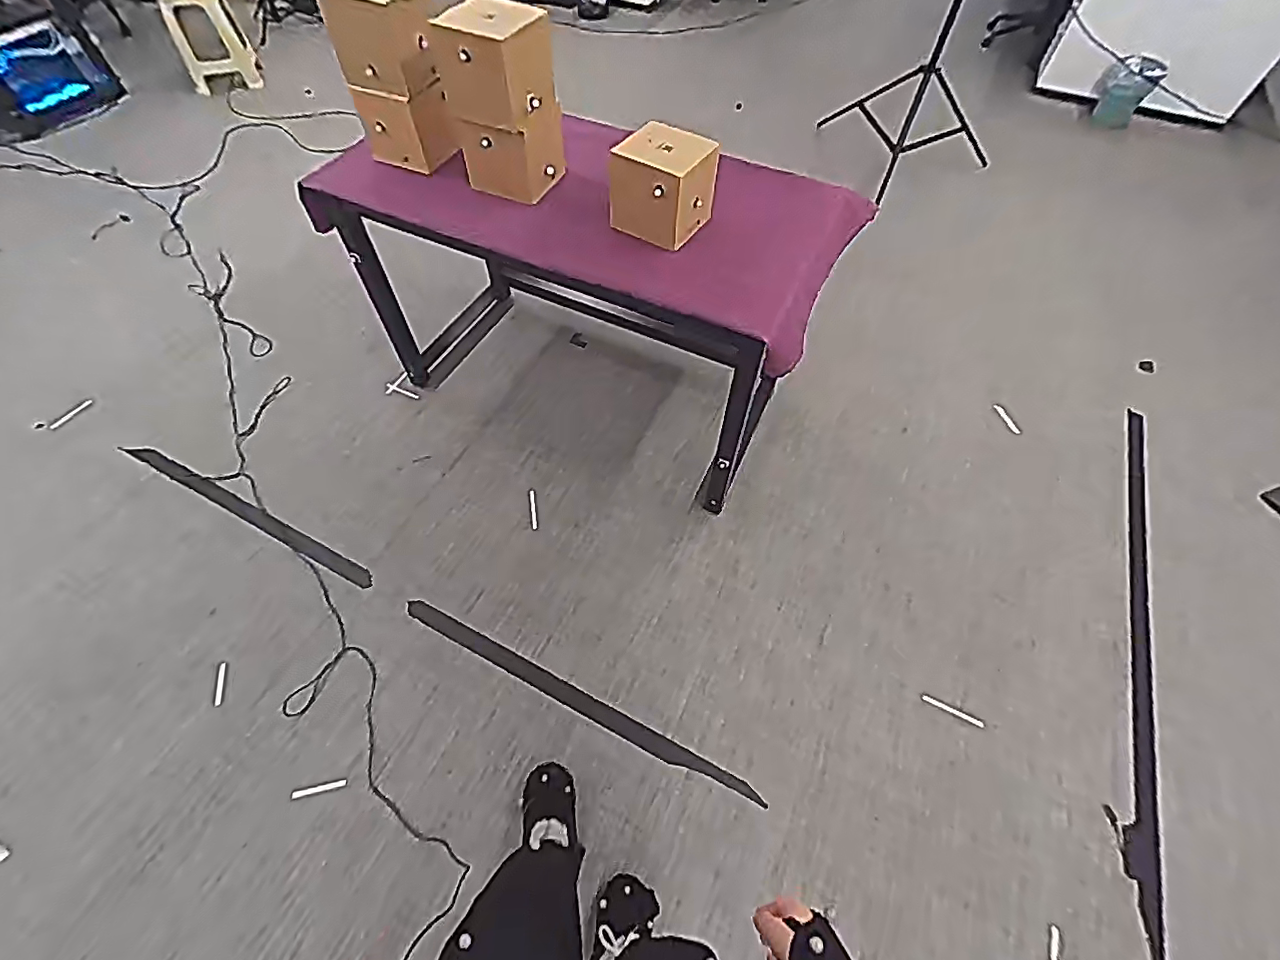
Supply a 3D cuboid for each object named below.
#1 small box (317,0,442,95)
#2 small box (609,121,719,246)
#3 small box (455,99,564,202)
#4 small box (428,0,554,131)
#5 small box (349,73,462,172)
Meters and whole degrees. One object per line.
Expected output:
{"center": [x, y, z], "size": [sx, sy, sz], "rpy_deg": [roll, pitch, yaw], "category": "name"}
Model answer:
{"center": [-0.562, -0.988, 1.198], "size": [0.179, 0.176, 0.168], "rpy_deg": [18, 58, 9], "category": "small box"}
{"center": [0.049, -0.642, 1.184], "size": [0.179, 0.176, 0.168], "rpy_deg": [29, 60, 17], "category": "small box"}
{"center": [-0.296, -0.785, 1.268], "size": [0.179, 0.176, 0.168], "rpy_deg": [21, 60, 11], "category": "small box"}
{"center": [-0.299, -0.862, 1.126], "size": [0.179, 0.176, 0.168], "rpy_deg": [24, 61, 12], "category": "small box"}
{"center": [-0.564, -0.892, 1.331], "size": [0.168, 0.176, 0.179], "rpy_deg": [20, 58, 11], "category": "small box"}
